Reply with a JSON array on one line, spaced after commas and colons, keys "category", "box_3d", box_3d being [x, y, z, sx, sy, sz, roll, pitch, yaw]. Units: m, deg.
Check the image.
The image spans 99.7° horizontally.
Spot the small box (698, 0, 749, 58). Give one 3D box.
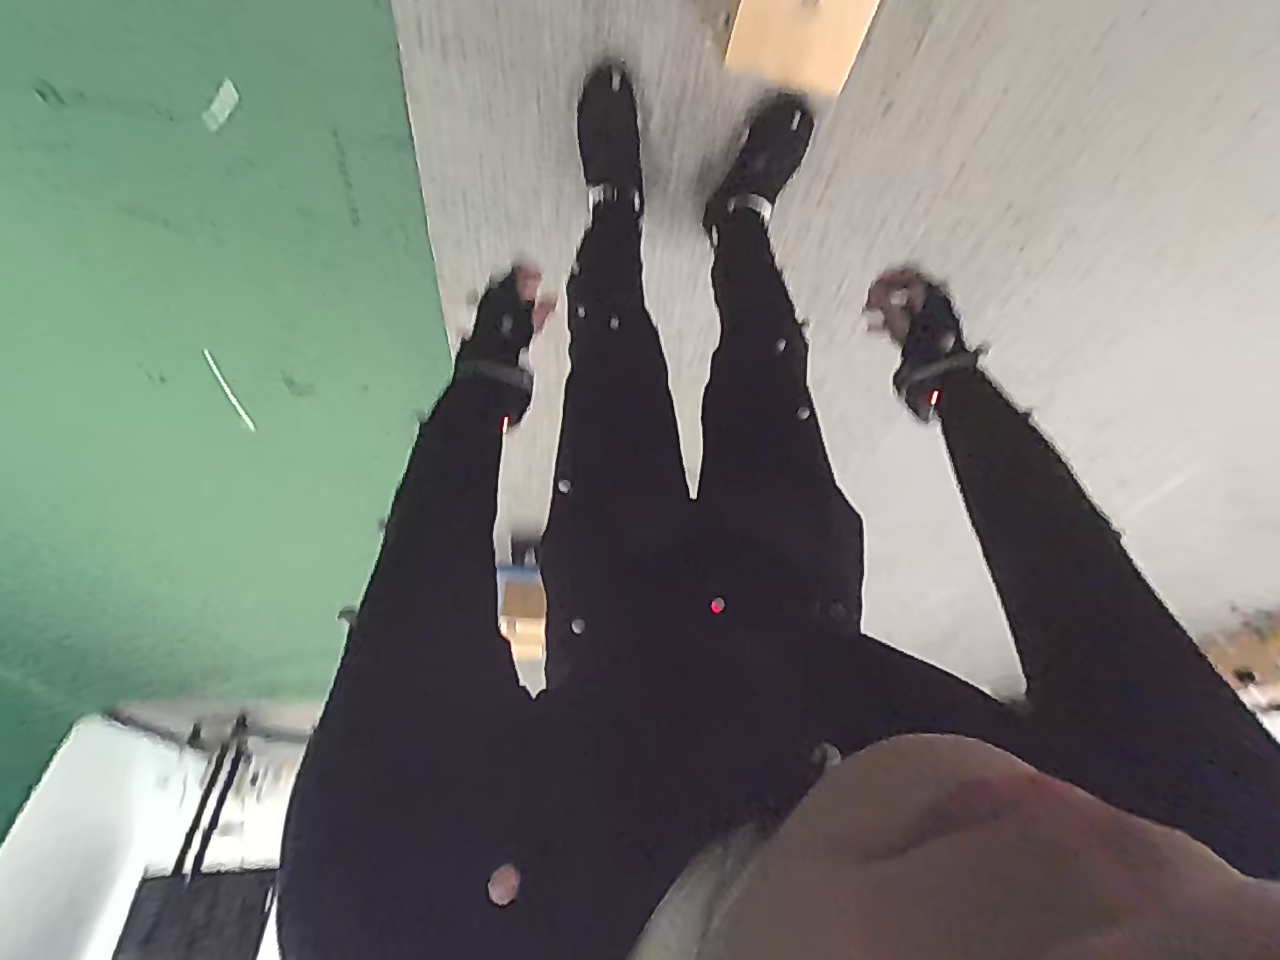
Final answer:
[{"category": "small box", "box_3d": [0.188, -0.751, 0.800, 0.168, 0.176, 0.179, 7, 140, -11]}]

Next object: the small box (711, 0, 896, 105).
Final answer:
[{"category": "small box", "box_3d": [0.193, -0.641, 0.691, 0.179, 0.176, 0.168, 31, 134, -33]}]

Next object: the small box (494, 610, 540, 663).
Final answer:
[{"category": "small box", "box_3d": [-0.517, 0.662, 2.285, 0.179, 0.176, 0.168, 5, 140, -9]}]
